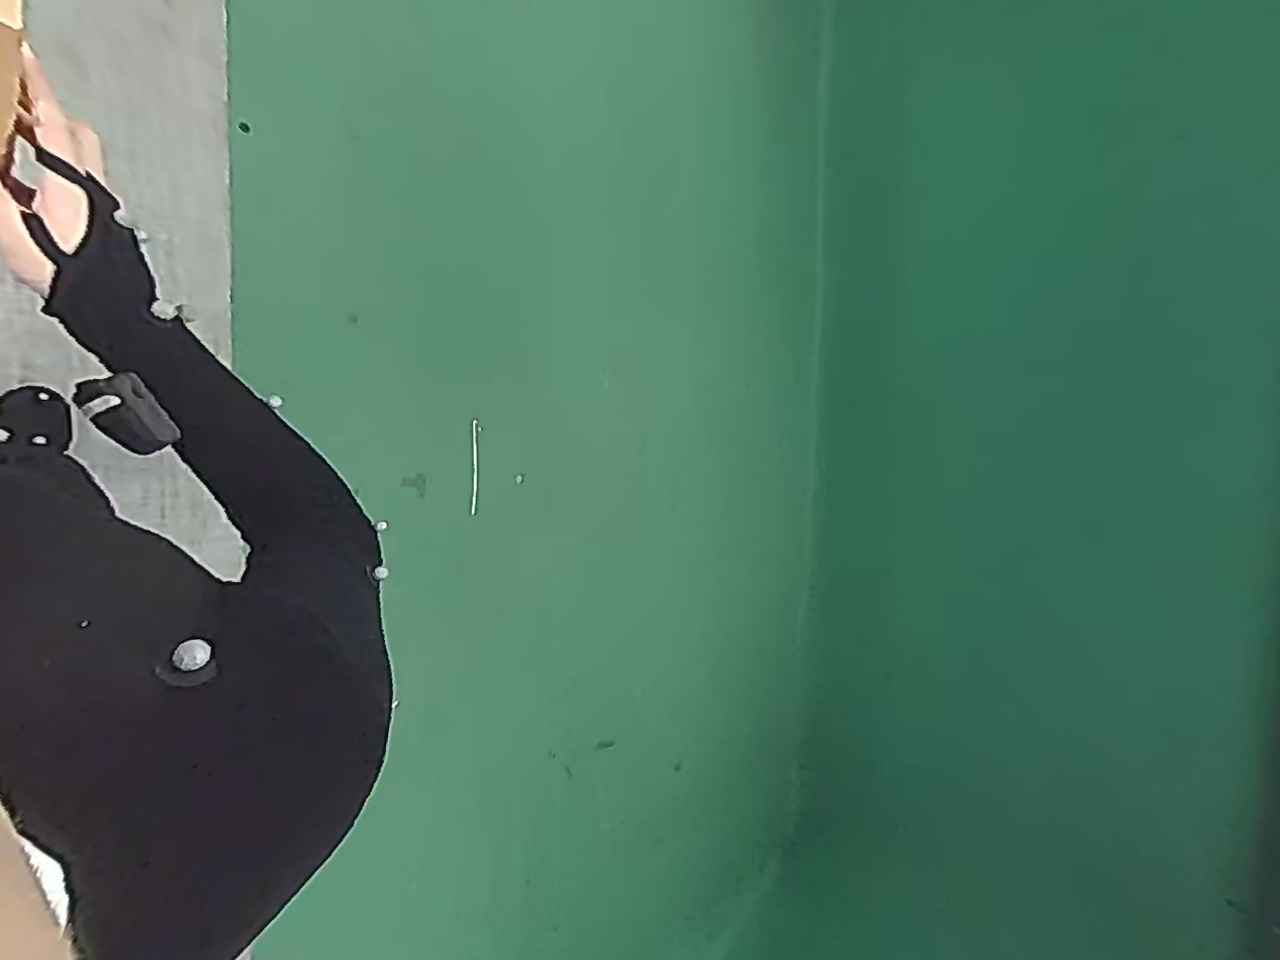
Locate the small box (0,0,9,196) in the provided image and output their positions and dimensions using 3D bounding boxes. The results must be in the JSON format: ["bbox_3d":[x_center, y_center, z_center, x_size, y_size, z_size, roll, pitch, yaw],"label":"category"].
[{"bbox_3d":[-0.497,-0.302,0.314,0.168,0.176,0.179,-1,64,-53],"label":"small box"}]
